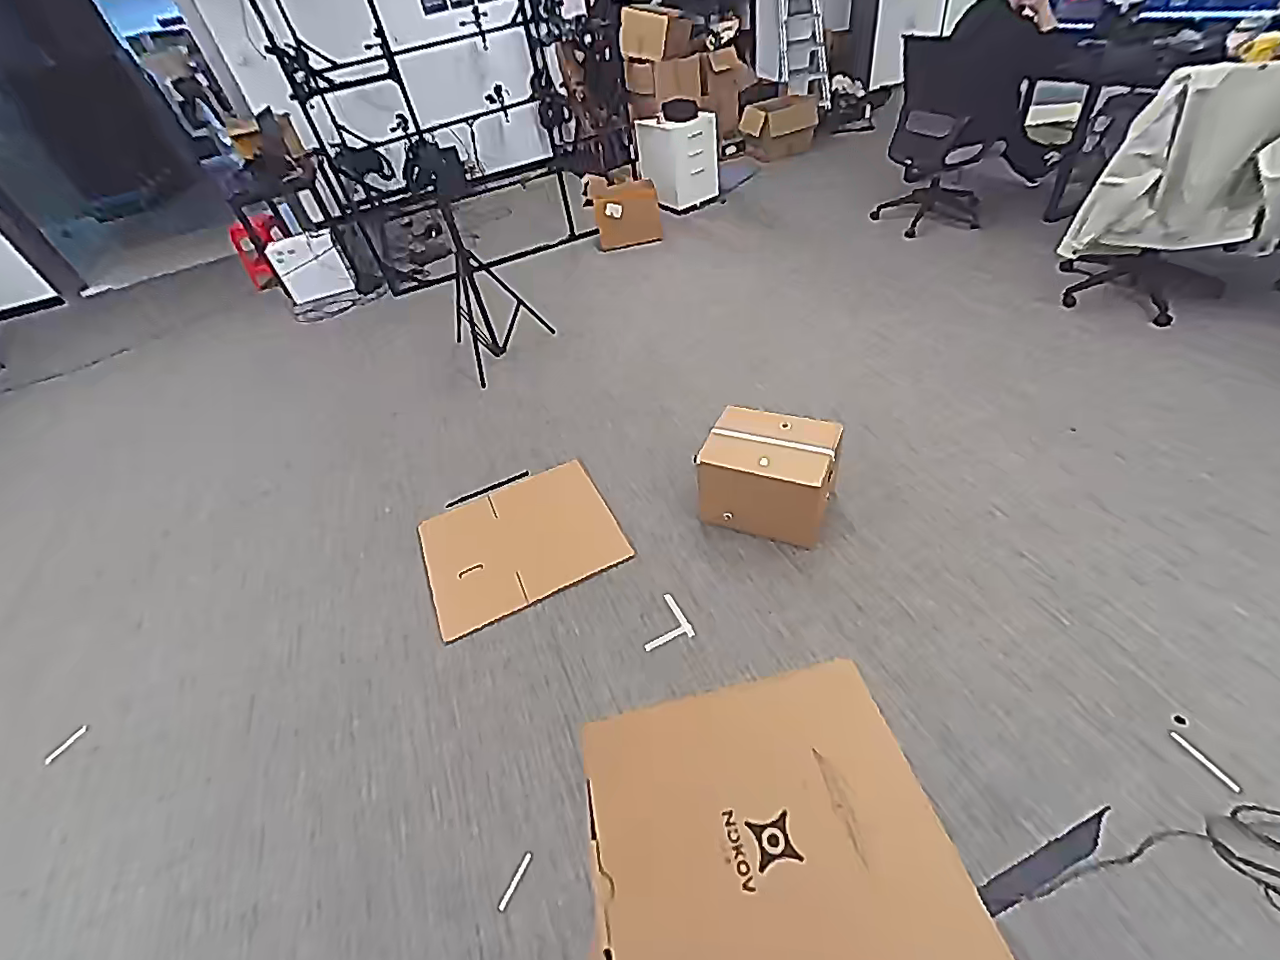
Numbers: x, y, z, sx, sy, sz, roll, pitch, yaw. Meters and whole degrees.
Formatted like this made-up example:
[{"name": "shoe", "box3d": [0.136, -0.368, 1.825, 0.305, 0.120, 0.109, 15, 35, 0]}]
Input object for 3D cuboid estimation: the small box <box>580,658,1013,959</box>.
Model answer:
[{"name": "small box", "box3d": [0.073, 0.241, 0.329, 0.179, 0.176, 0.168, -13, 44, -5]}]
